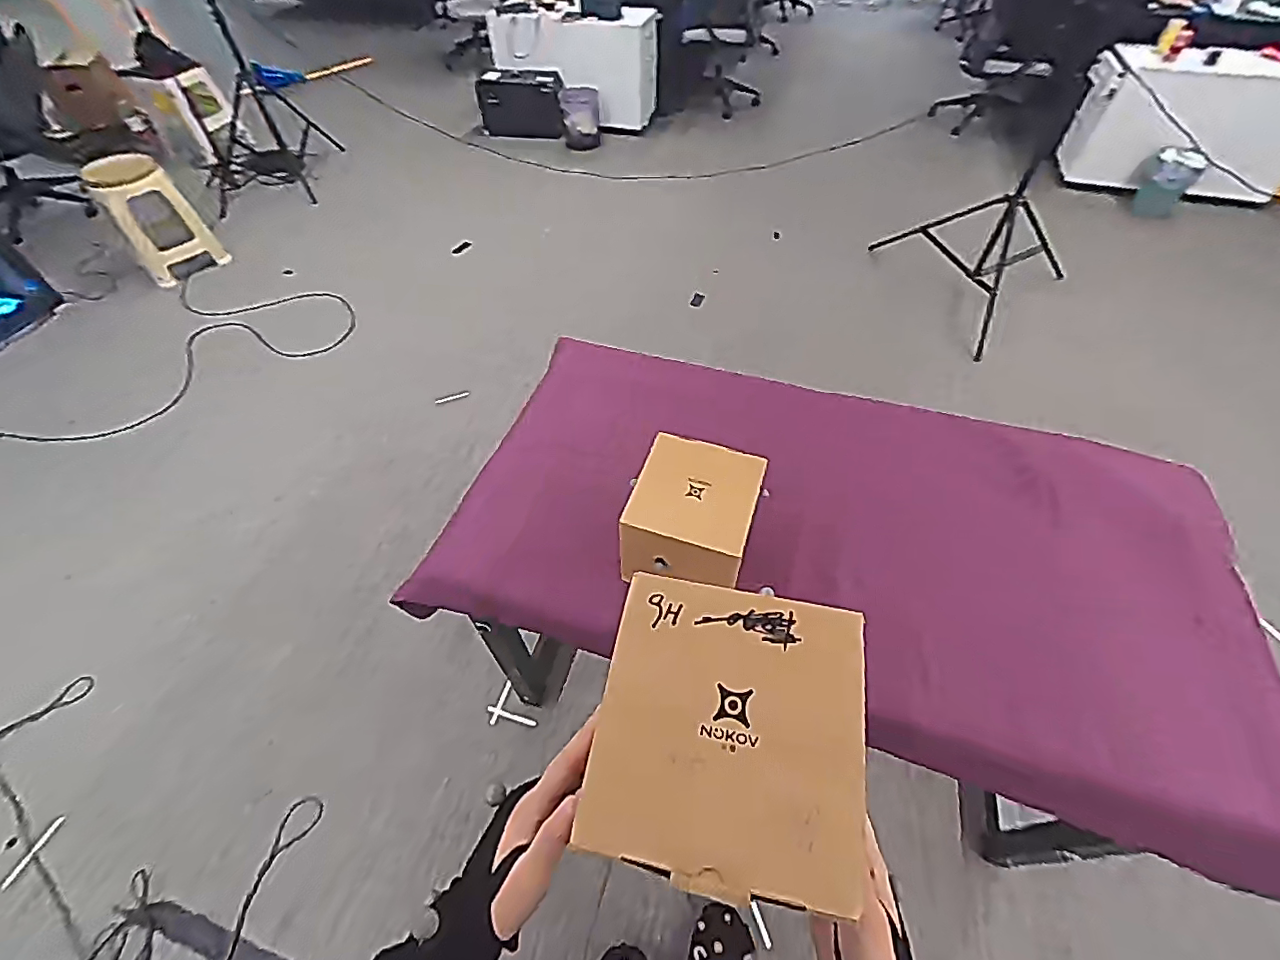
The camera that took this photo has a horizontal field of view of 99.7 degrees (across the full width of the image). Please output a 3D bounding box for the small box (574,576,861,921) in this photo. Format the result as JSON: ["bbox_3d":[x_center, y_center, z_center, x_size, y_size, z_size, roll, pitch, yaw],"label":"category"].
[{"bbox_3d":[0.061,0.198,0.415,0.168,0.176,0.179,9,58,8],"label":"small box"}]

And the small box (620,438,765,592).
[{"bbox_3d":[0.078,0.071,0.812,0.168,0.176,0.179,15,52,12],"label":"small box"}]
